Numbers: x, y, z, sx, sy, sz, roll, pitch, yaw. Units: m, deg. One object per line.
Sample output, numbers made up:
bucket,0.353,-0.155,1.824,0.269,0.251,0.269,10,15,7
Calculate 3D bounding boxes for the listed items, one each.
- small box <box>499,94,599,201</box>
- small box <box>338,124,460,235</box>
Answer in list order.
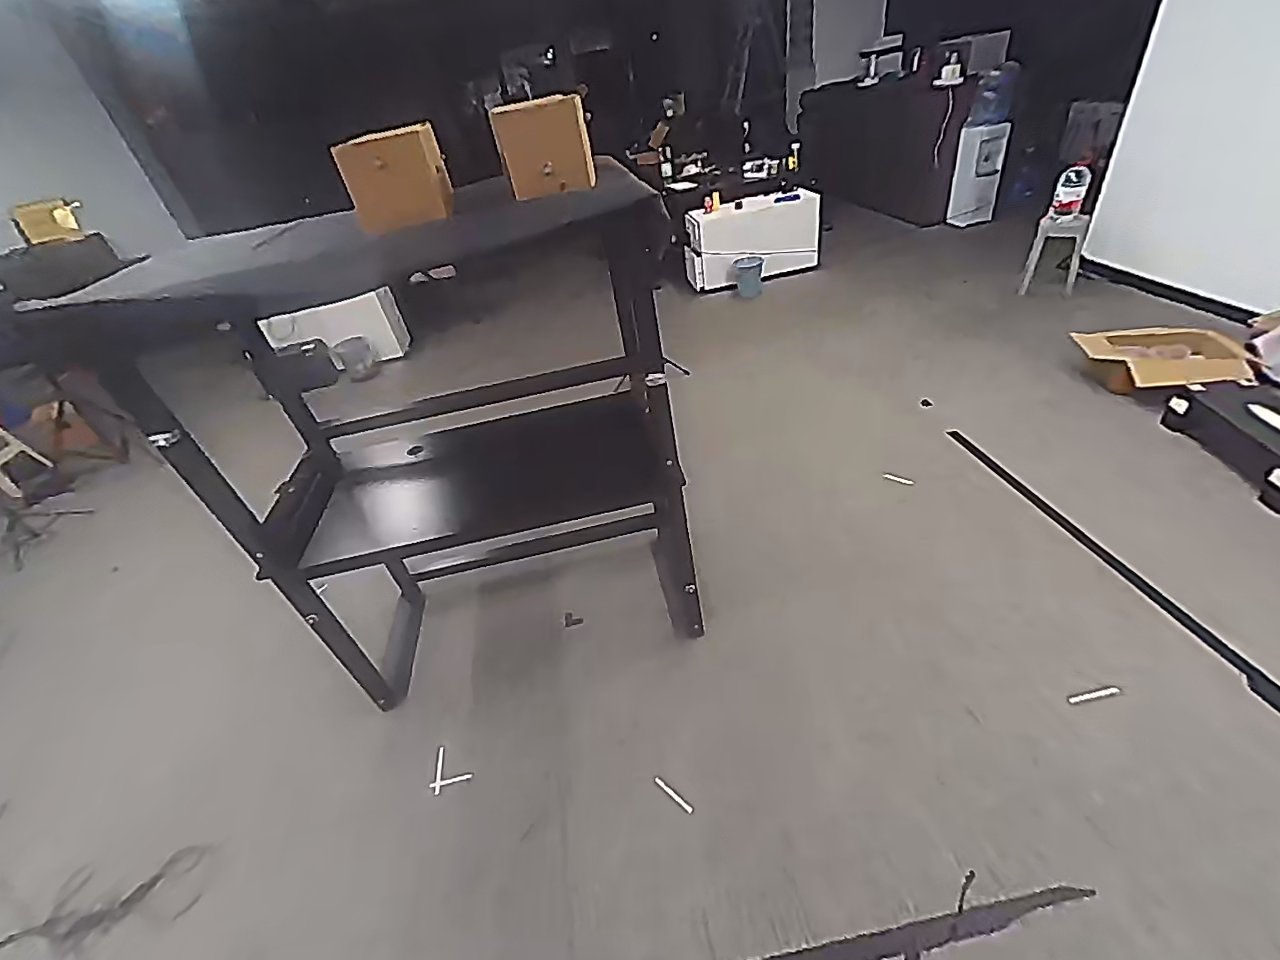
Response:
small box,-0.186,-0.713,1.163,0.168,0.176,0.179,-9,37,4
small box,-0.504,-0.647,1.164,0.179,0.176,0.168,-13,37,-2
